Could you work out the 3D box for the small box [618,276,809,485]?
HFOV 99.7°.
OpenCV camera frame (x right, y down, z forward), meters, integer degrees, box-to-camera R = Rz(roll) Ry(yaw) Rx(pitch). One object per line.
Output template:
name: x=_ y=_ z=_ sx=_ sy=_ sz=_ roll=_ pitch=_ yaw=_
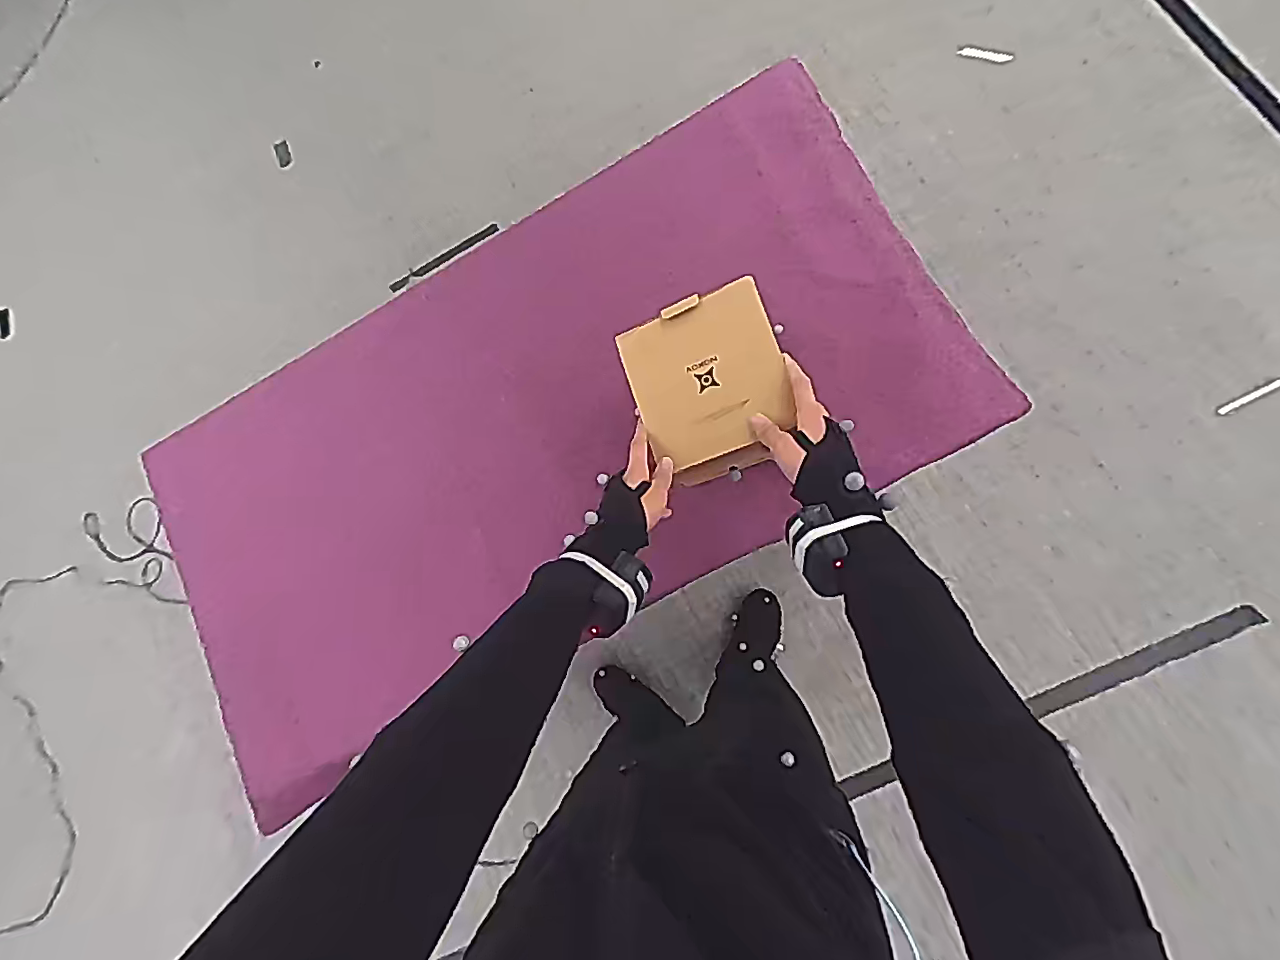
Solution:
small box: x=0.095 y=-0.104 z=0.652 sx=0.168 sy=0.176 sz=0.179 roll=-20 pitch=80 yaw=15
